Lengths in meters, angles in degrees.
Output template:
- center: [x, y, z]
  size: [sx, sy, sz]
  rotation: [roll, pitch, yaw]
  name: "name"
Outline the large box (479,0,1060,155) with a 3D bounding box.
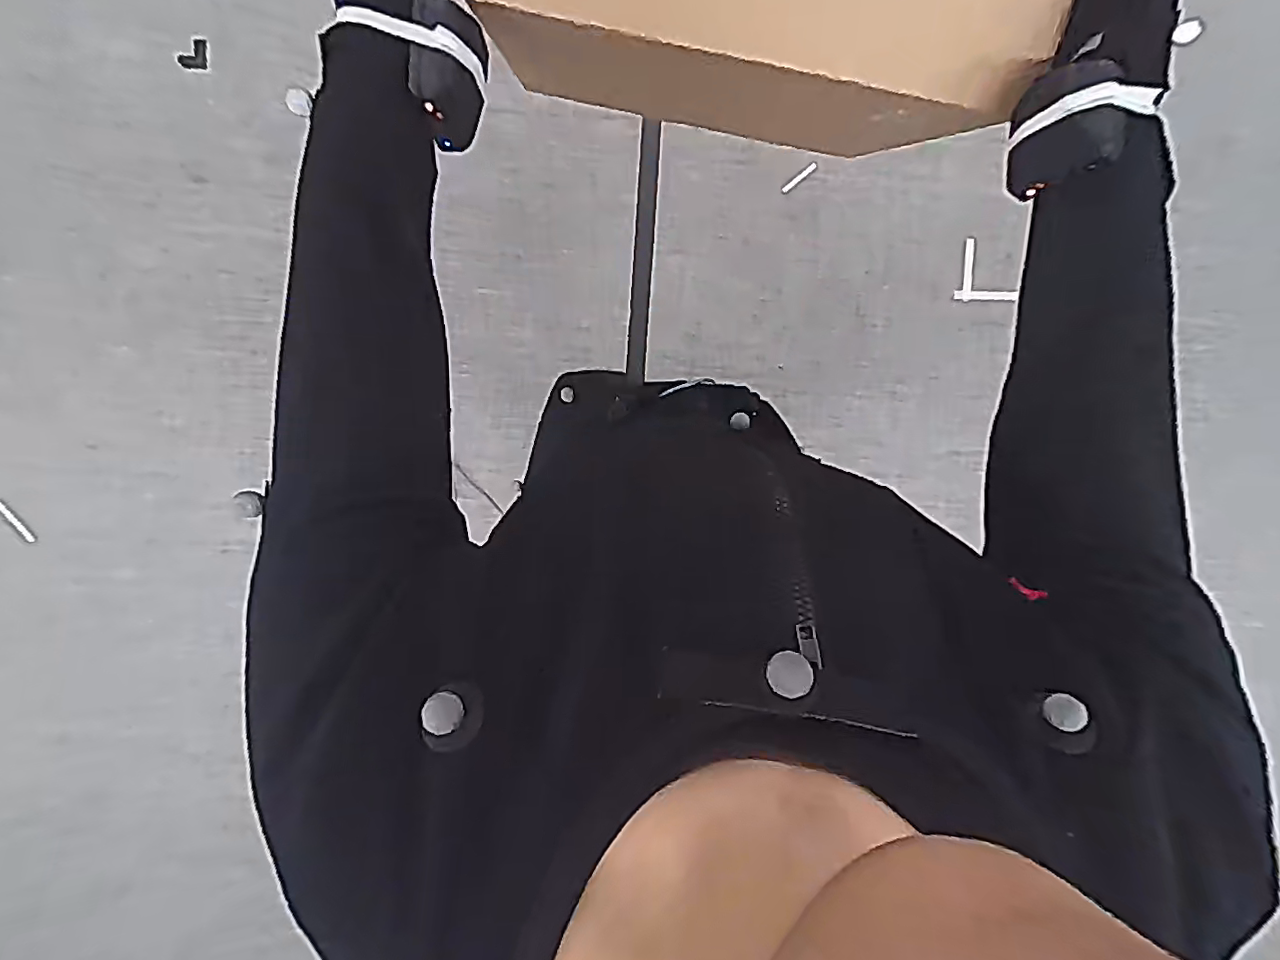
- center: [0.097, -0.491, 0.449]
  size: [0.408, 0.320, 0.320]
  rotation: [7, 117, -8]
  name: "large box"
